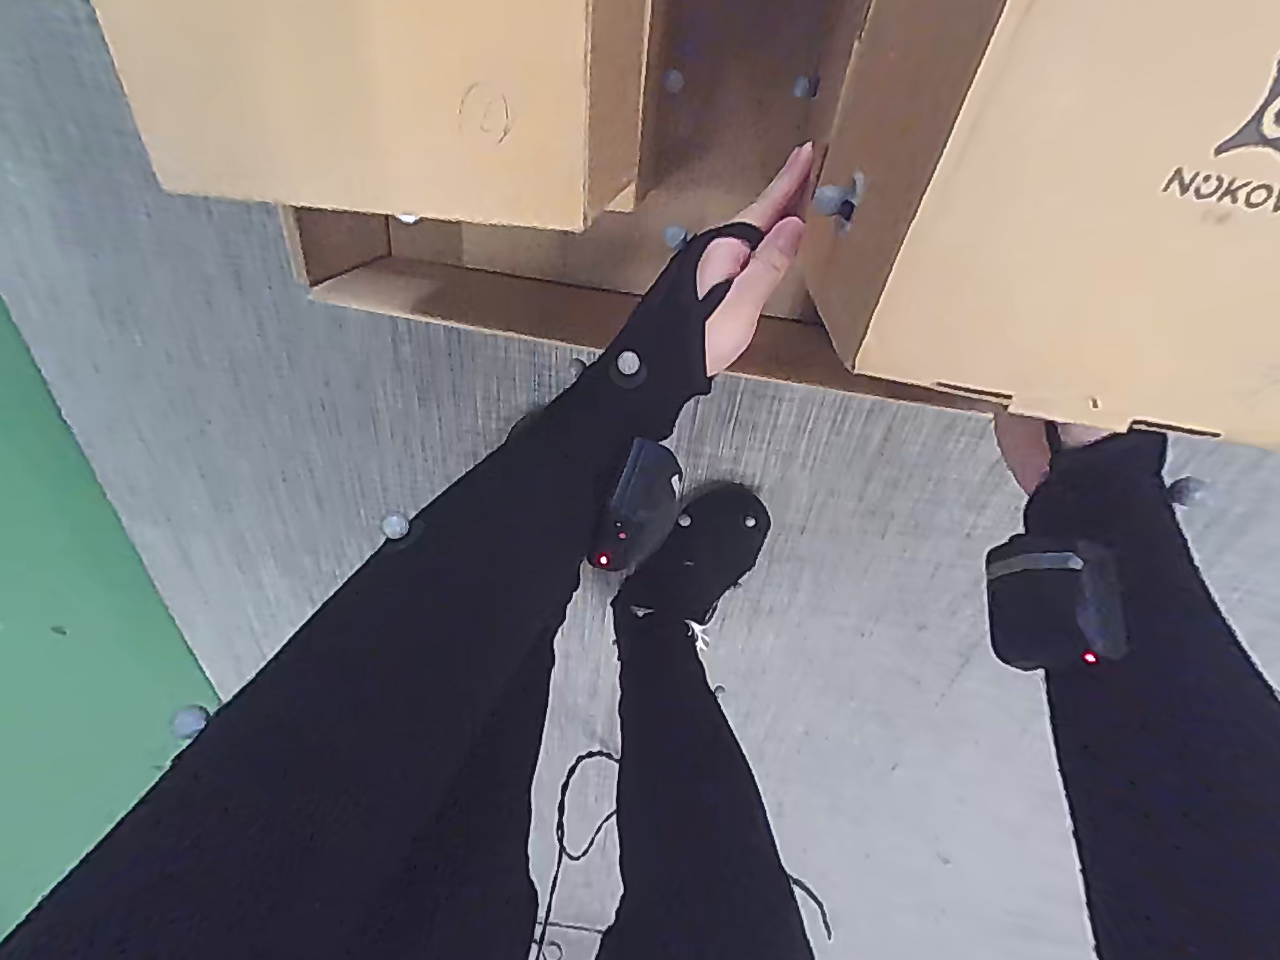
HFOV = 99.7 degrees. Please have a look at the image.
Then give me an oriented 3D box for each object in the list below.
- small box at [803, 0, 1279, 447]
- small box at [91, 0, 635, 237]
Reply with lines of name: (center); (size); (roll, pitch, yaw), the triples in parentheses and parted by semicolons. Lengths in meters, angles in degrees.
small box: (0.172, -0.141, 0.211); (0.168, 0.176, 0.179); (11, 126, 1)
small box: (-0.092, -0.217, 0.229); (0.168, 0.176, 0.179); (6, 123, 3)
